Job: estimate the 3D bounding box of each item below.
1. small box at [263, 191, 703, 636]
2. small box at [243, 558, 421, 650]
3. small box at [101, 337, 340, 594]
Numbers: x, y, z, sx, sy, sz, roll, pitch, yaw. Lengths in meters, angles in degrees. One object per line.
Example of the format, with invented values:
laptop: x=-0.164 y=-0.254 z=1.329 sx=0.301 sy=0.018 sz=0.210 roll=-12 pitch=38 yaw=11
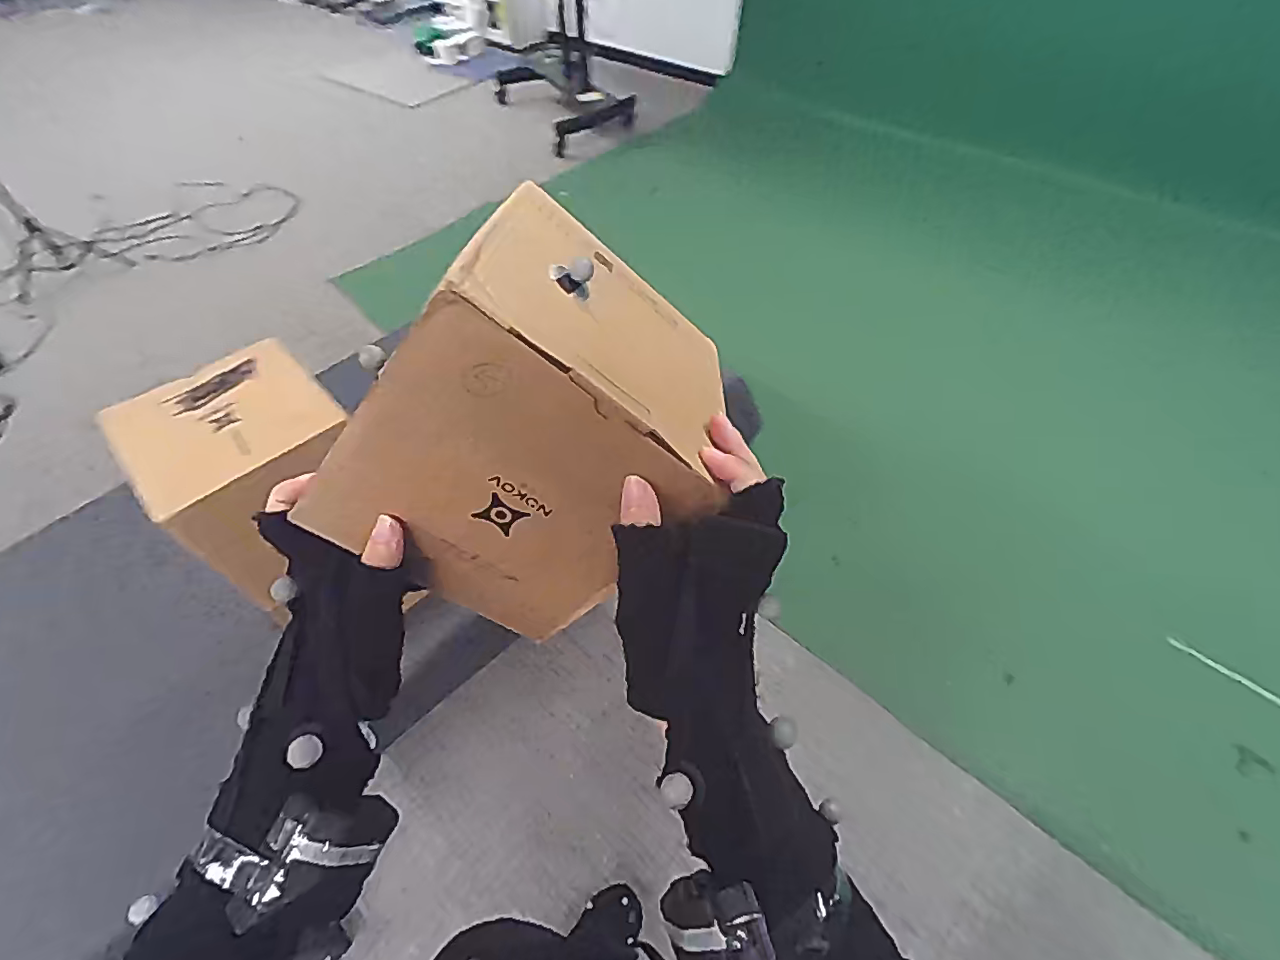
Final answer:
small box: x=-0.082 y=-0.040 z=0.335 sx=0.168 sy=0.179 sz=0.176 roll=33 pitch=35 yaw=-23
small box: x=-0.385 y=0.086 z=0.698 sx=0.168 sy=0.176 sz=0.179 roll=38 pitch=63 yaw=26
small box: x=-0.387 y=-0.013 z=0.566 sx=0.179 sy=0.176 sz=0.168 roll=34 pitch=60 yaw=26
